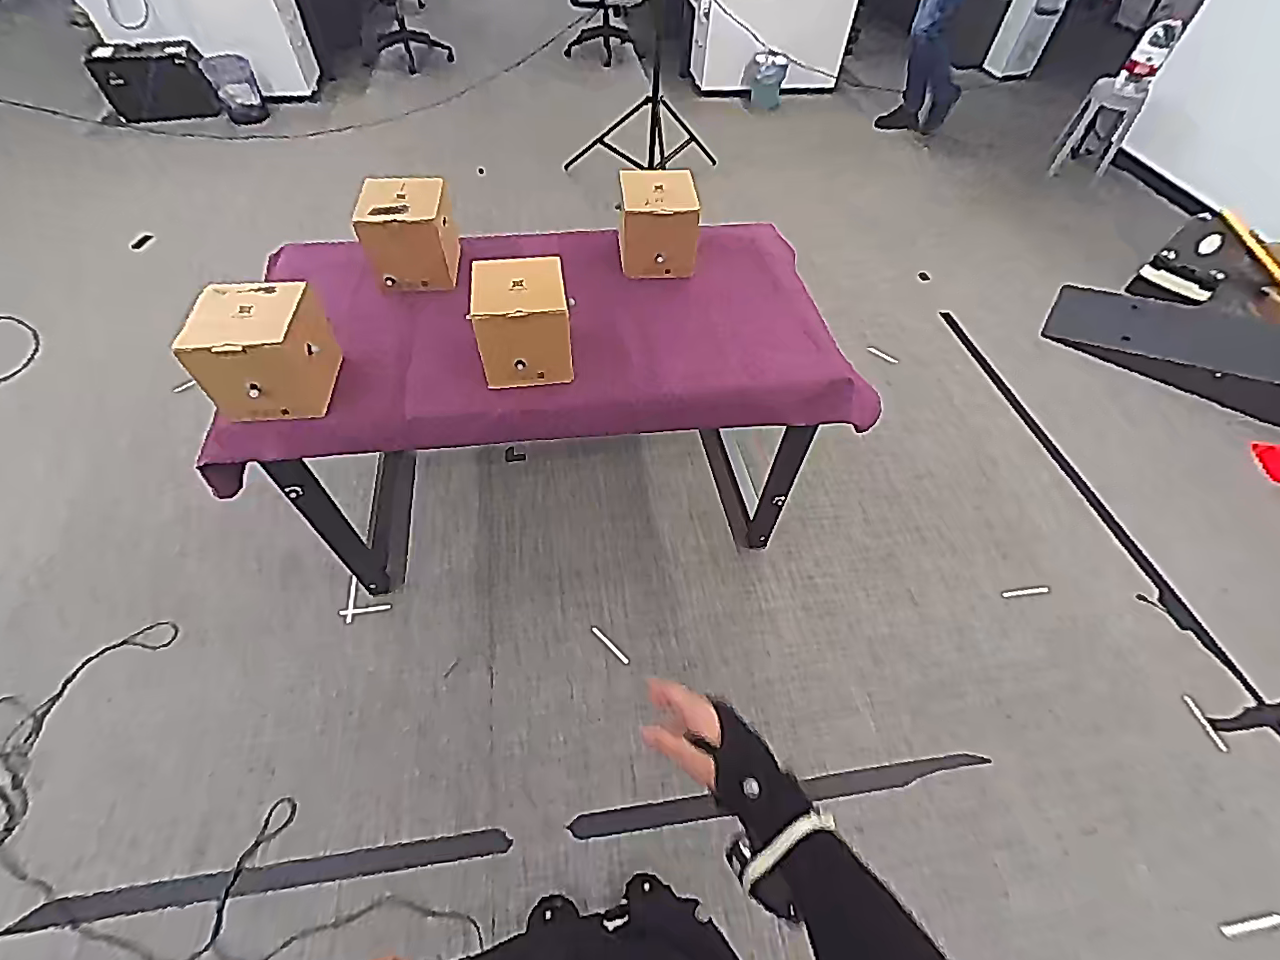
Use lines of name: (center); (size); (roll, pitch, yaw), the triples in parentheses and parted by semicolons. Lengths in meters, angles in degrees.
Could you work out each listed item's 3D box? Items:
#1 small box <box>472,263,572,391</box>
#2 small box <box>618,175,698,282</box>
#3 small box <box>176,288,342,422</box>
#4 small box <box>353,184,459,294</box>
small box: (-0.225, -0.294, 1.046); (0.168, 0.176, 0.179); (-7, 53, -8)
small box: (0.034, -0.589, 1.272); (0.168, 0.176, 0.179); (-4, 56, -4)
small box: (-0.659, -0.217, 0.964); (0.168, 0.176, 0.179); (-5, 54, -7)
small box: (-0.509, -0.532, 1.206); (0.168, 0.176, 0.179); (-4, 54, -6)
